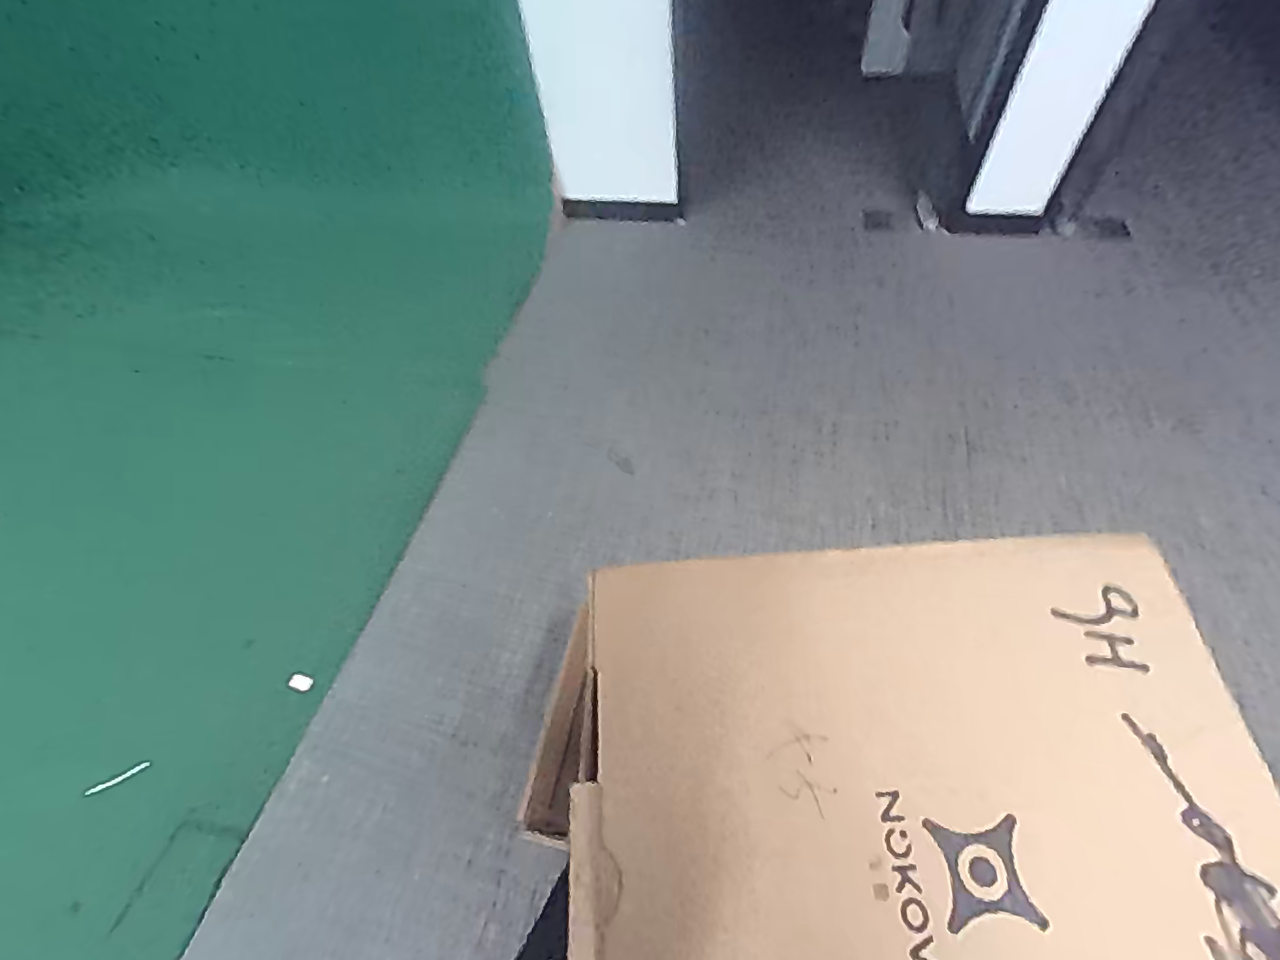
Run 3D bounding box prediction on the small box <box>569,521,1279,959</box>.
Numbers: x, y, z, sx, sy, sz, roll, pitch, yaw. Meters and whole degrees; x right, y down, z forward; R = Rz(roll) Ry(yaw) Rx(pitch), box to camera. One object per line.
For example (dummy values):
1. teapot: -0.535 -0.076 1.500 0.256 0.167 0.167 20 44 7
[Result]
1. small box: 0.074 0.131 0.209 0.179 0.176 0.168 -6 62 -1
